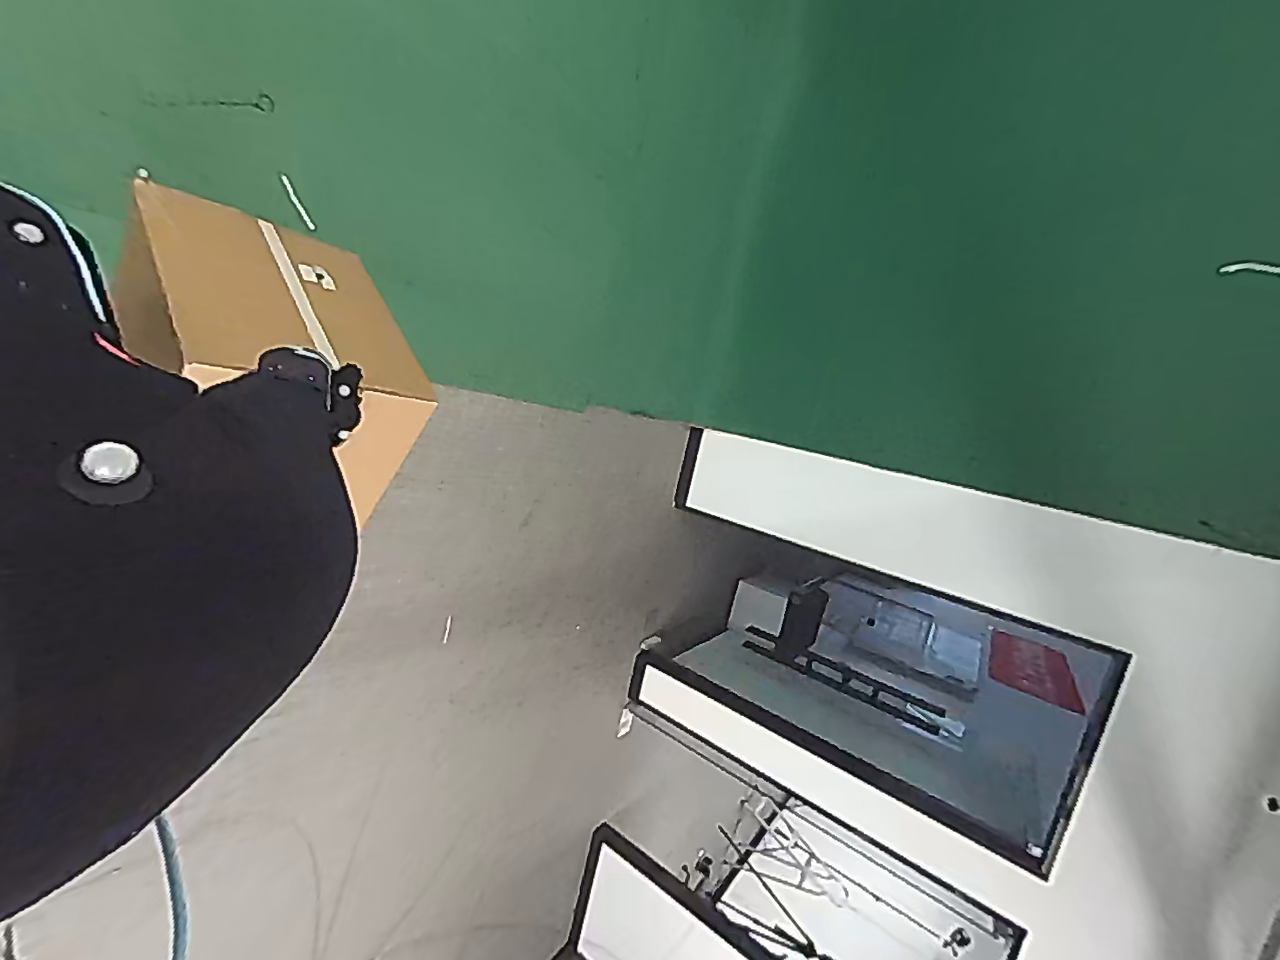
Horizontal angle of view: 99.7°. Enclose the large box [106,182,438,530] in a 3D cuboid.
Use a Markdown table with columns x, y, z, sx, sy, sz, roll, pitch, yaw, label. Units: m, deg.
| x | y | z | sx | sy | sz | roll | pitch | yaw | label |
| --- | --- | --- | --- | --- | --- | --- | --- | --- | --- |
| -0.598 | -0.174 | 0.866 | 0.320 | 0.408 | 0.320 | -48 | 153 | 24 | large box |
